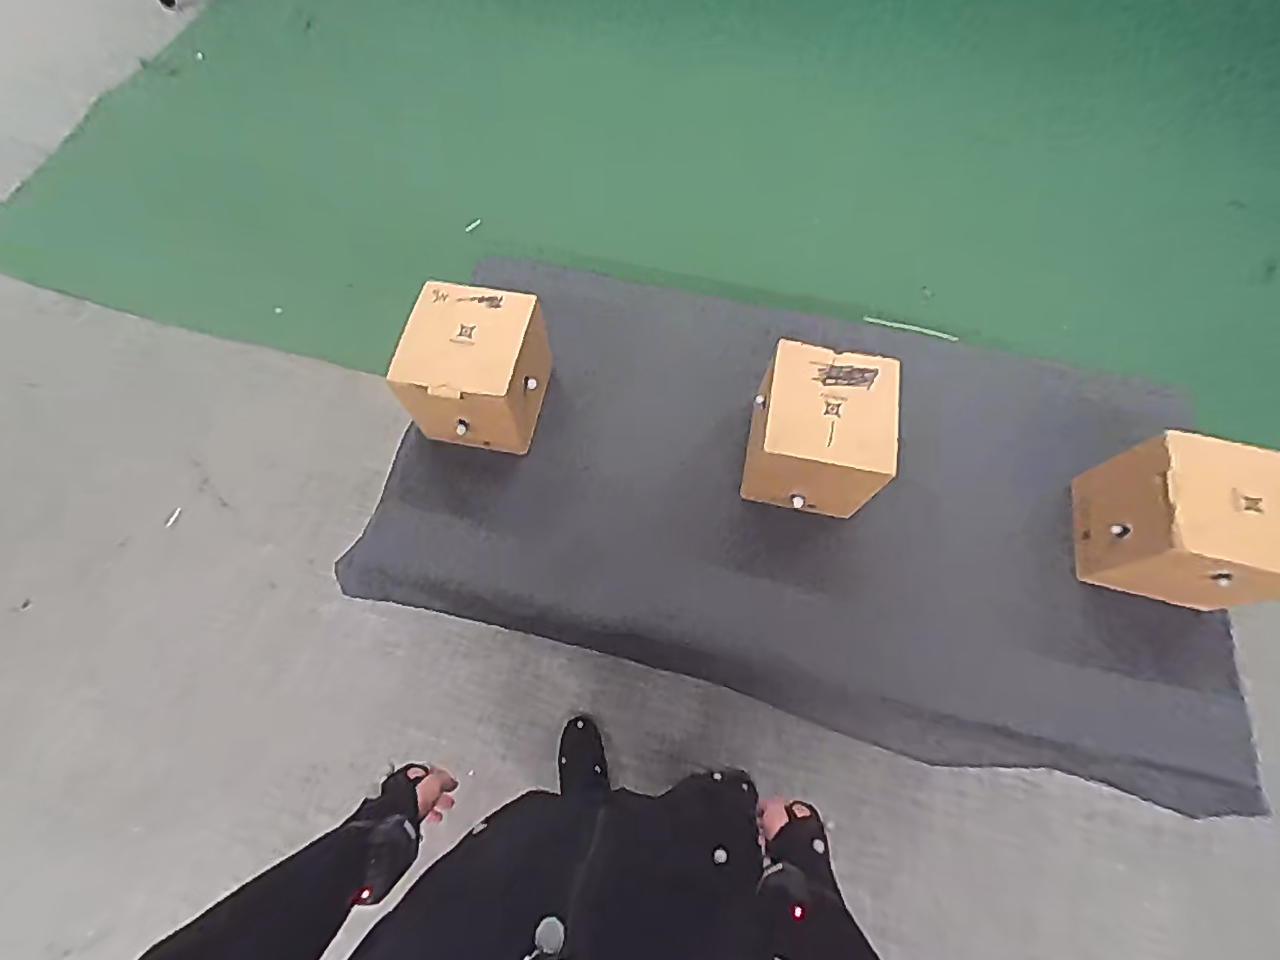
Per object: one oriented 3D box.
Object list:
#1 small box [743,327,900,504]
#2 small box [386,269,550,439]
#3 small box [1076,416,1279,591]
[{"bbox_3d":[0.249,-0.084,0.769,0.168,0.176,0.179,11,70,5],"label":"small box"},{"bbox_3d":[-0.240,-0.179,0.809,0.168,0.176,0.179,9,69,3],"label":"small box"},{"bbox_3d":[0.724,0.040,0.718,0.179,0.176,0.168,14,70,5],"label":"small box"}]
